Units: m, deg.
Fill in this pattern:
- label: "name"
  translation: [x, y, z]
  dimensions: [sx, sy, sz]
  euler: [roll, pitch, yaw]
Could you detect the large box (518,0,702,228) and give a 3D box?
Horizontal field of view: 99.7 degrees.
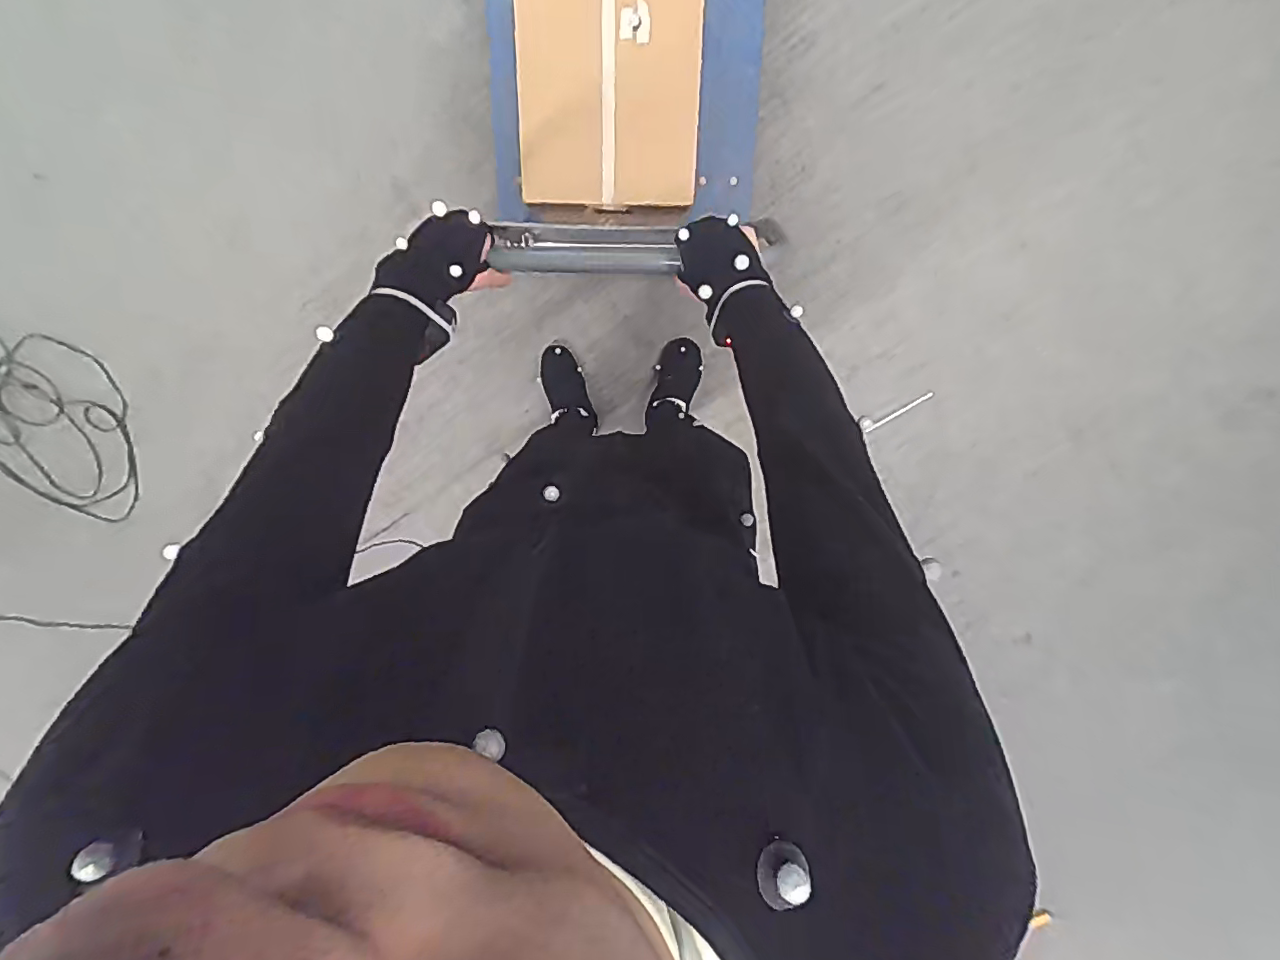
- label: "large box"
  translation: [-0.045, -0.736, 1.075]
  dimensions: [0.320, 0.320, 0.408]
  euler: [2, 109, 2]
